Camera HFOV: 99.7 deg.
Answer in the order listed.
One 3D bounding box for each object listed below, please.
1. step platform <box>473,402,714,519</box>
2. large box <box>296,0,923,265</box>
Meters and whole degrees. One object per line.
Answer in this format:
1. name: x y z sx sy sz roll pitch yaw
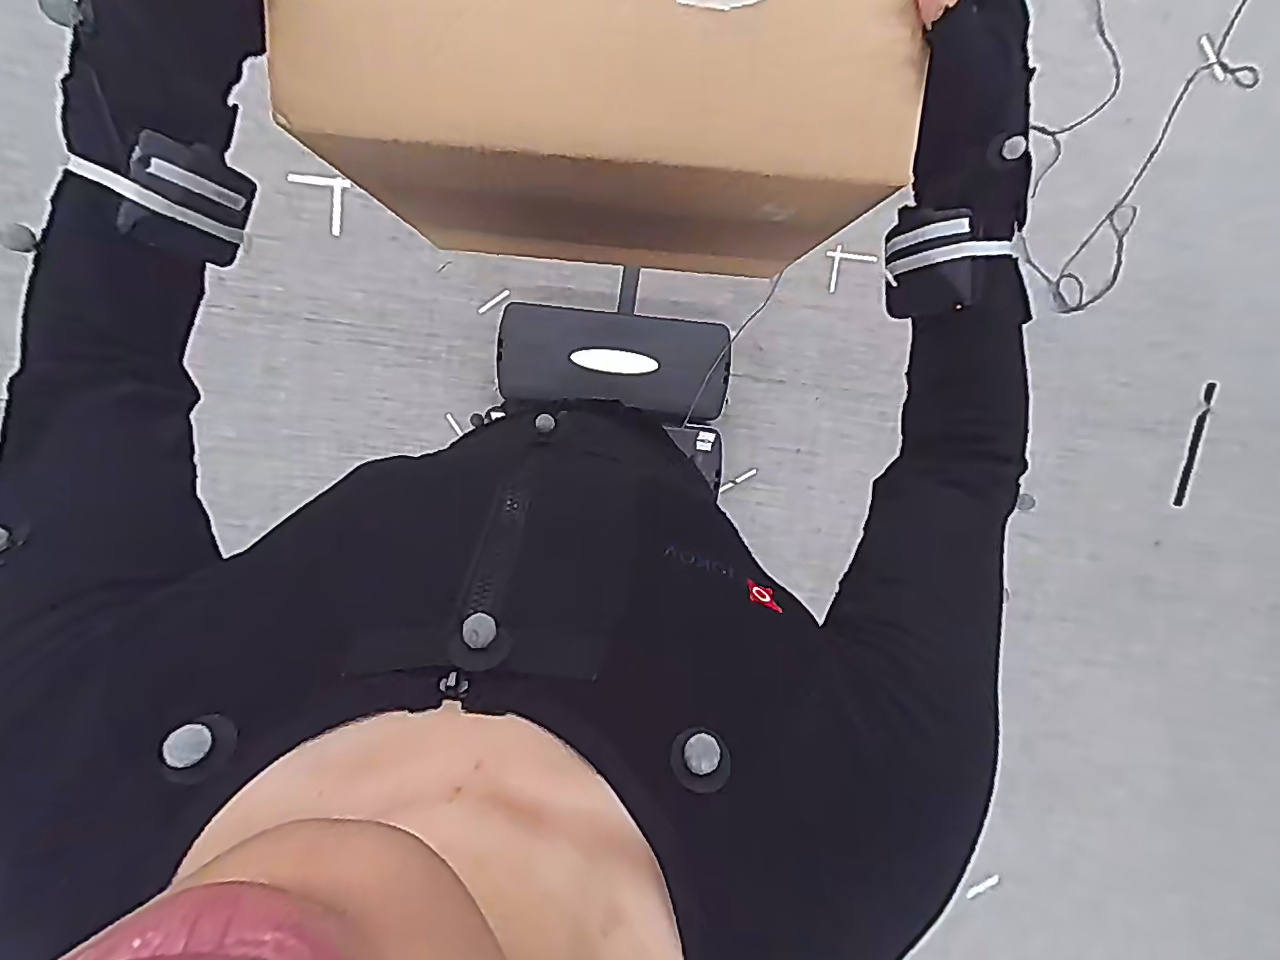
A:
1. step platform: -0.129 -0.056 1.567 0.684 0.204 0.286 5 96 -1
2. large box: -0.020 -0.392 0.477 0.408 0.320 0.320 3 100 -4
